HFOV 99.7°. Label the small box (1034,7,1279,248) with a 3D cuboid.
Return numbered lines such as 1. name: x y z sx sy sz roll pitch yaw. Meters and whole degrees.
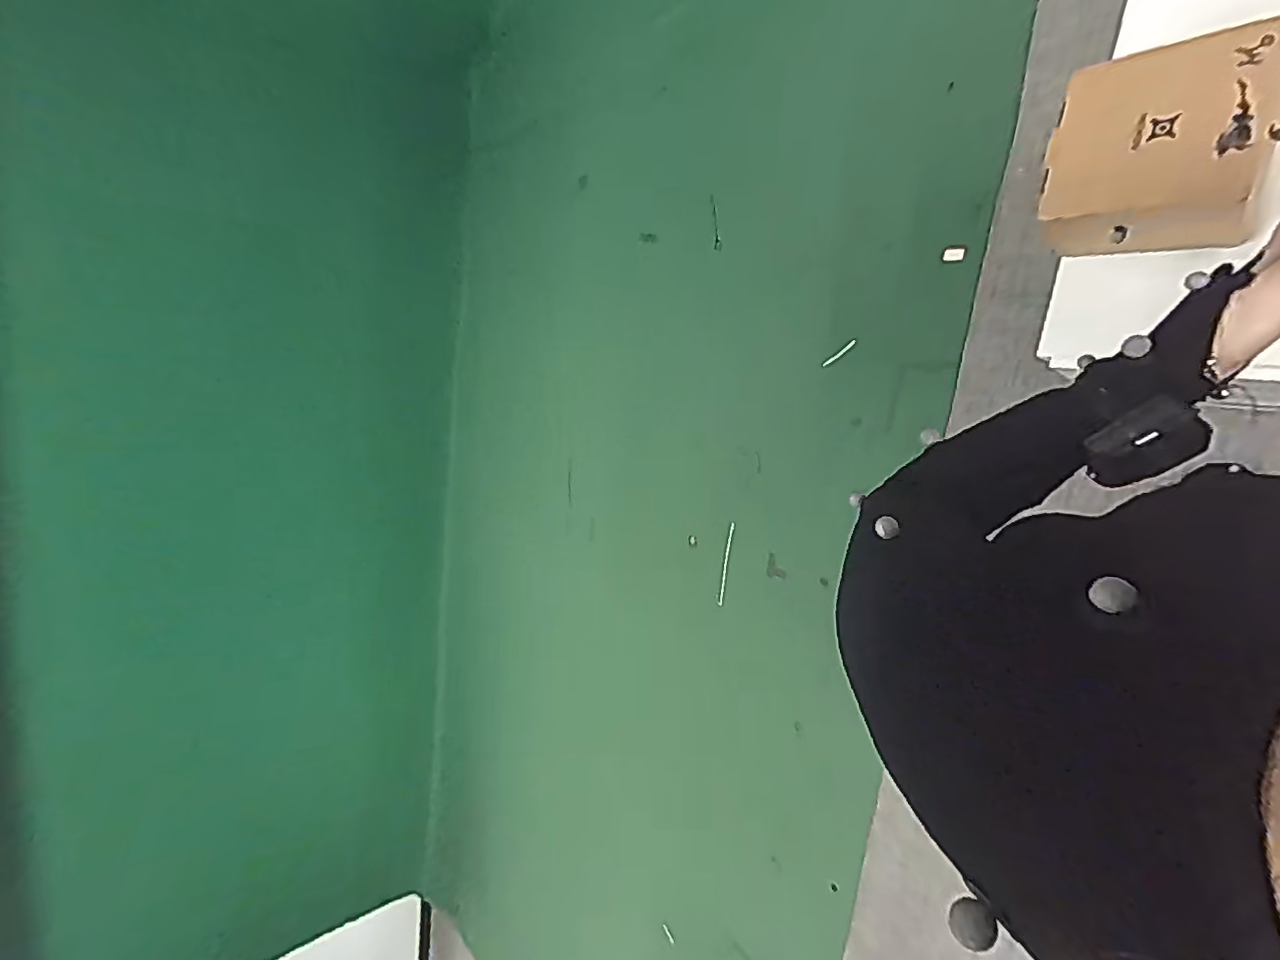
1. small box: 0.597 -0.379 0.624 0.179 0.176 0.168 17 104 46
